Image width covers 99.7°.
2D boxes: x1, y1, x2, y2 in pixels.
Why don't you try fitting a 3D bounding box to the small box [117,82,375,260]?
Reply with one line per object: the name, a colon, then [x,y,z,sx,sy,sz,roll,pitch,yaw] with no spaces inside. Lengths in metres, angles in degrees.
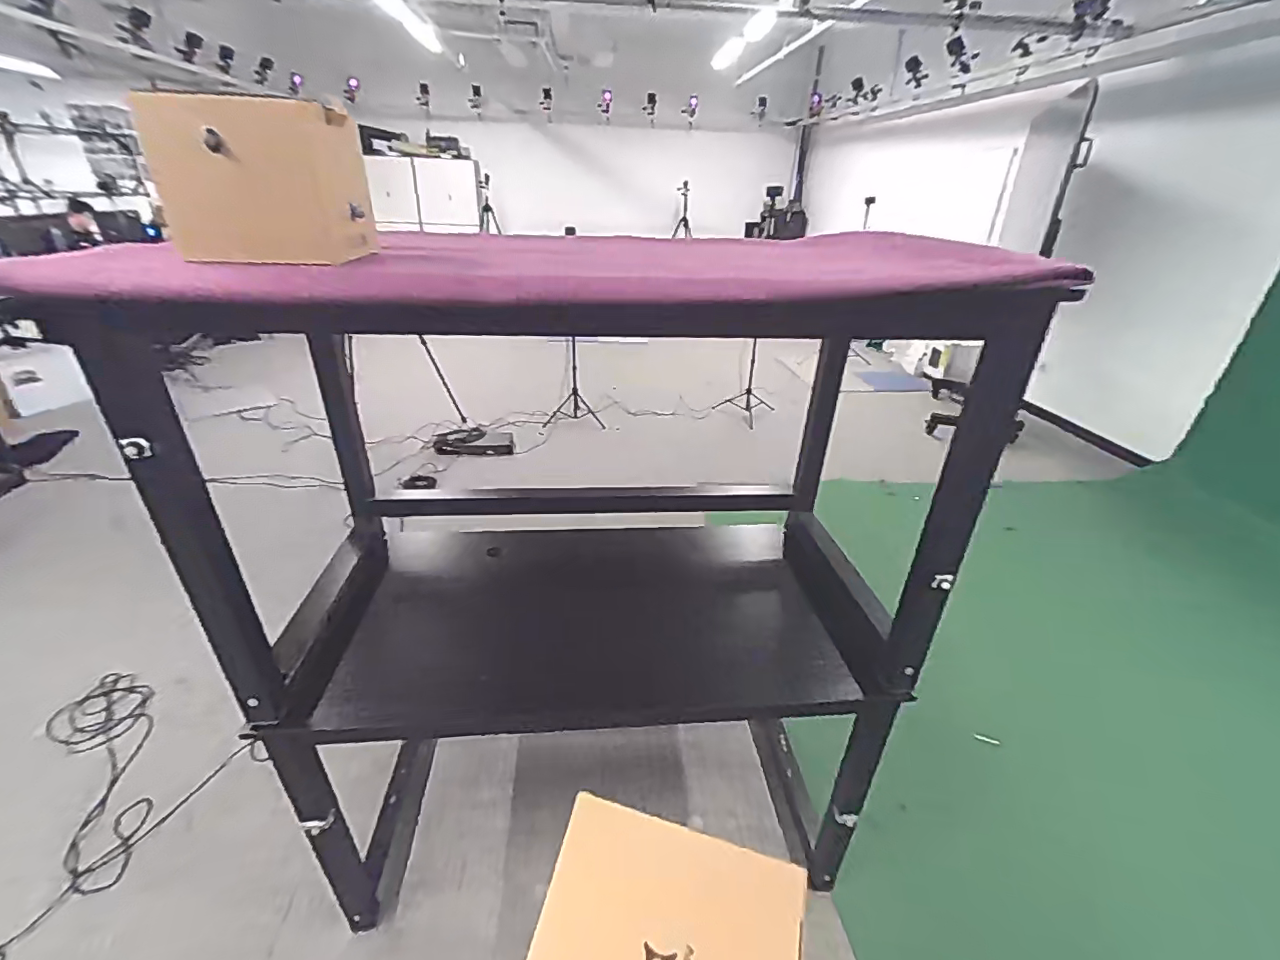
small box: [-0.452,-0.366,0.659,0.179,0.176,0.168,-1,30,-6]
